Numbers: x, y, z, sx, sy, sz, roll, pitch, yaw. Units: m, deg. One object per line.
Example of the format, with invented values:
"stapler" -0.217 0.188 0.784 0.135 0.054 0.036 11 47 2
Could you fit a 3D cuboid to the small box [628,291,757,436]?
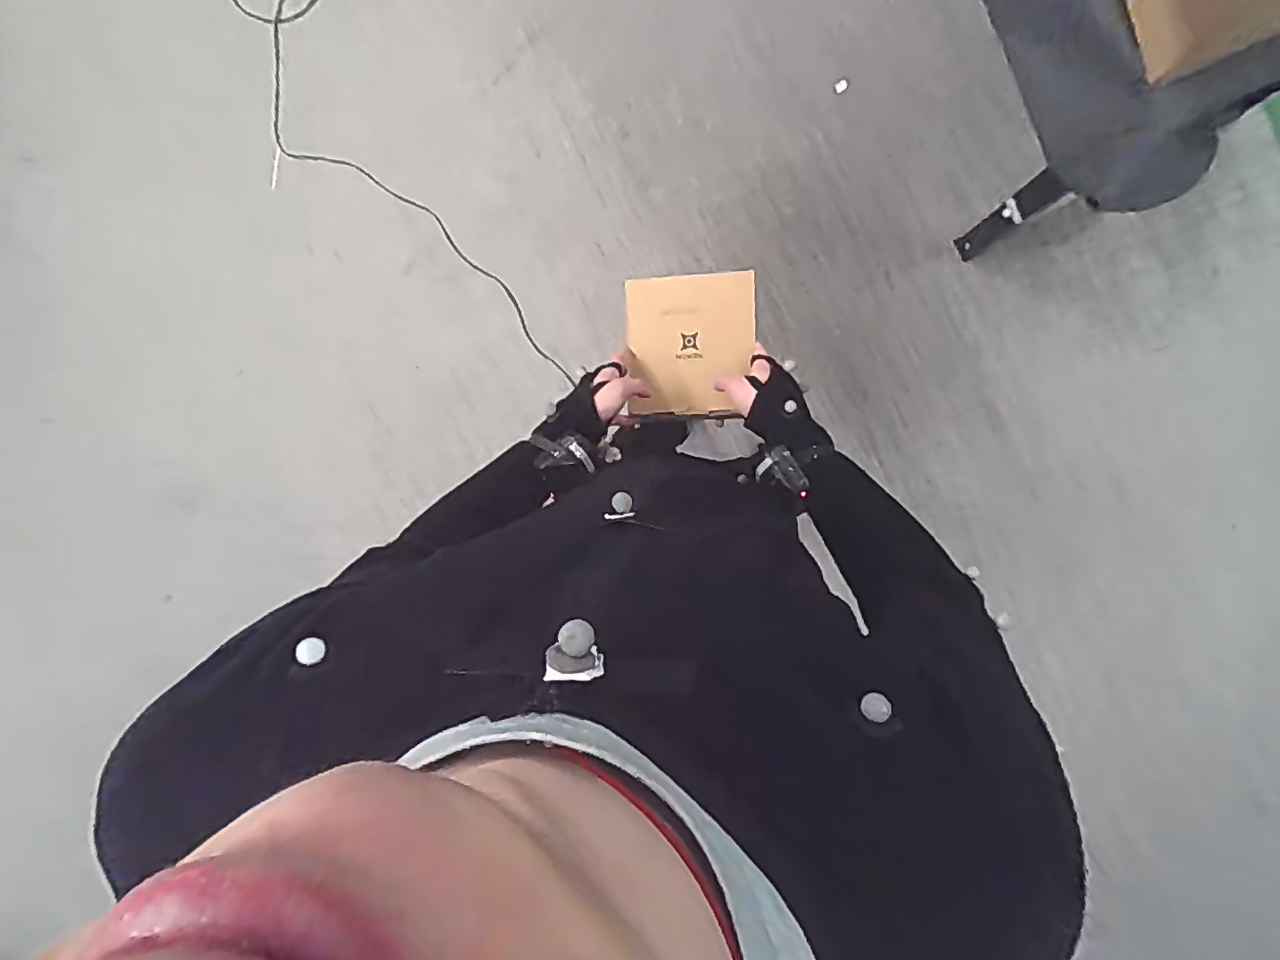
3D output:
"small box" 0.079 -0.151 0.765 0.168 0.176 0.179 -2 93 9
